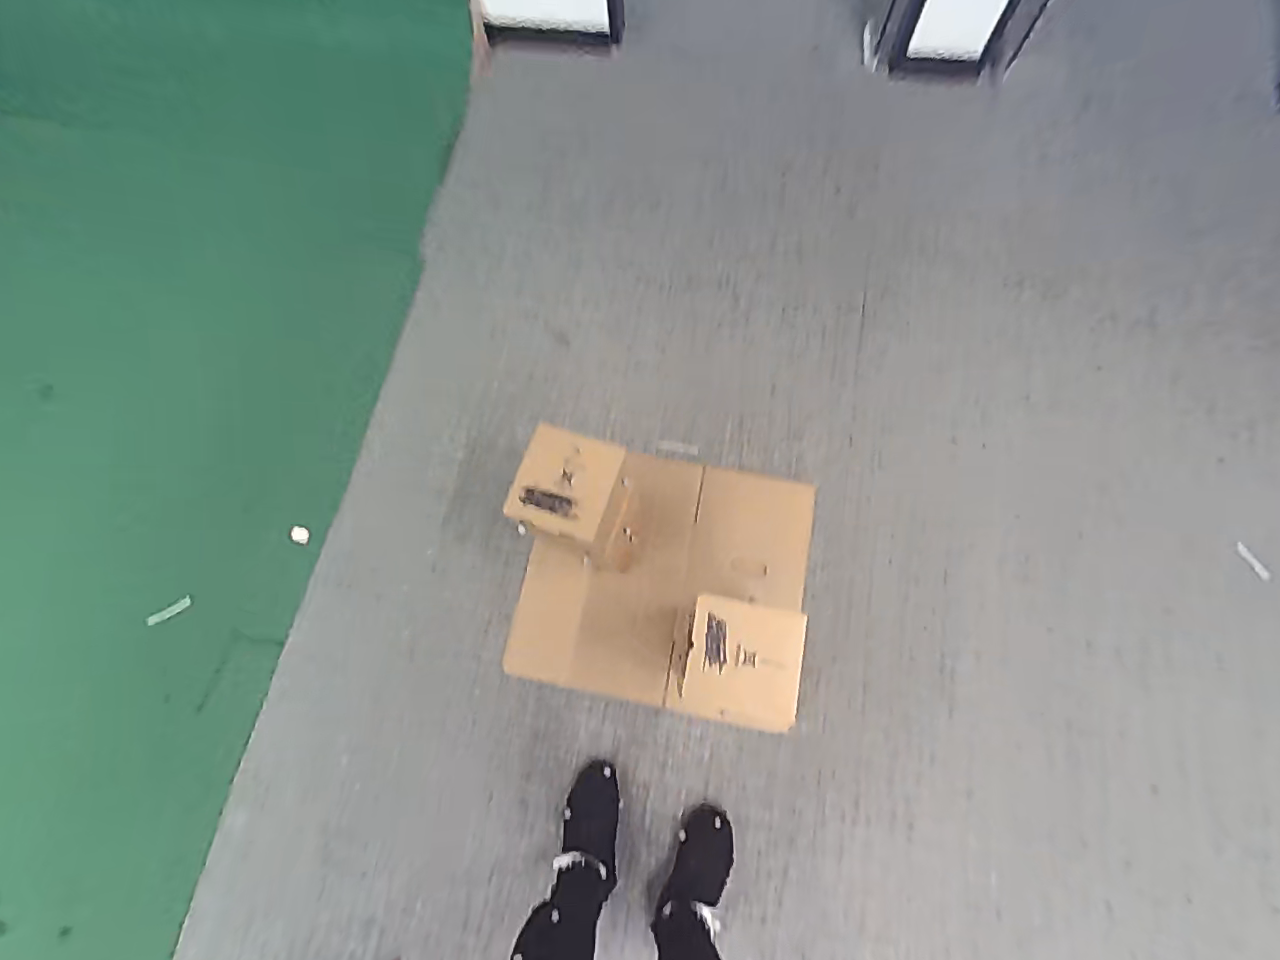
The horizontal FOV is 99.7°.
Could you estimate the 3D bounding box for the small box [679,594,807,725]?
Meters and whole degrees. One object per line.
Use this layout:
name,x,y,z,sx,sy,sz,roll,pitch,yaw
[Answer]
small box,0.166,0.296,0.908,0.179,0.176,0.168,10,75,7

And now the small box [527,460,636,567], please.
small box,-0.113,0.079,1.156,0.179,0.176,0.168,18,74,8
